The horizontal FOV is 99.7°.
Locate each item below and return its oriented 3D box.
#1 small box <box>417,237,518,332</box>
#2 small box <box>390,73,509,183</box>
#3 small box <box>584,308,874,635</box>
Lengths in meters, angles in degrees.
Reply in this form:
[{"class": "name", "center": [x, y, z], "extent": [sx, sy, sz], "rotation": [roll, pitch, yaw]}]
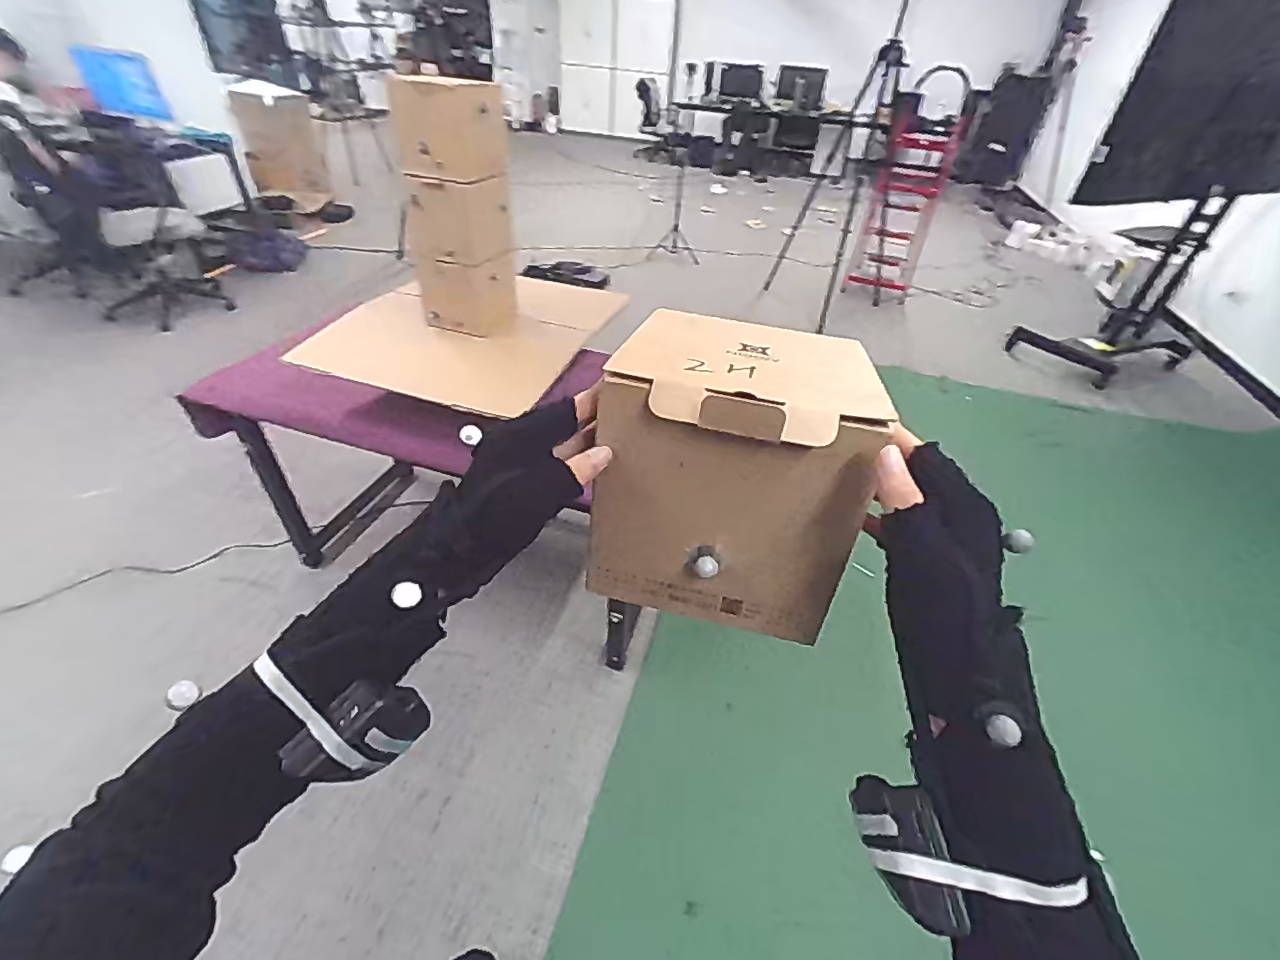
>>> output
[{"class": "small box", "center": [-0.415, -0.484, 1.339], "extent": [0.168, 0.176, 0.179], "rotation": [15, 40, 13]}, {"class": "small box", "center": [-0.389, -0.740, 1.136], "extent": [0.168, 0.176, 0.179], "rotation": [15, 40, 12]}, {"class": "small box", "center": [0.059, -0.017, 0.414], "extent": [0.168, 0.176, 0.179], "rotation": [12, 32, 8]}]
